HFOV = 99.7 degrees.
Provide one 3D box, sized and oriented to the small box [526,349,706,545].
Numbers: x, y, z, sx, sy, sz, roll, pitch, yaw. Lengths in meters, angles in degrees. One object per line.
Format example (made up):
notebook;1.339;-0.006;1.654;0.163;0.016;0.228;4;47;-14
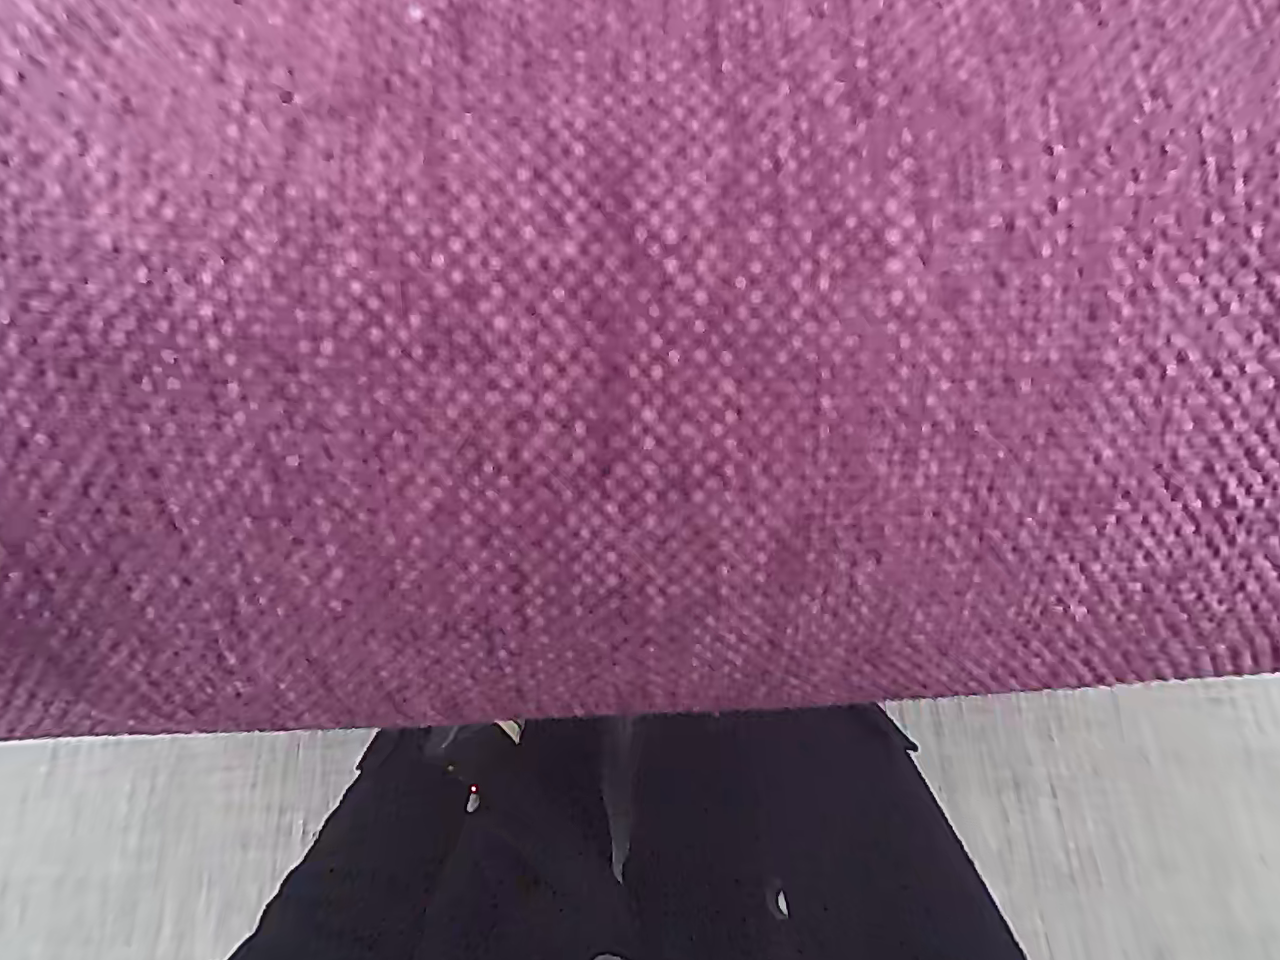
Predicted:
small box;-0.027;-0.023;0.580;0.168;0.176;0.179;-2;77;-4

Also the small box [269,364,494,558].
small box;-0.264;-0.010;0.591;0.179;0.176;0.168;-7;77;-2
